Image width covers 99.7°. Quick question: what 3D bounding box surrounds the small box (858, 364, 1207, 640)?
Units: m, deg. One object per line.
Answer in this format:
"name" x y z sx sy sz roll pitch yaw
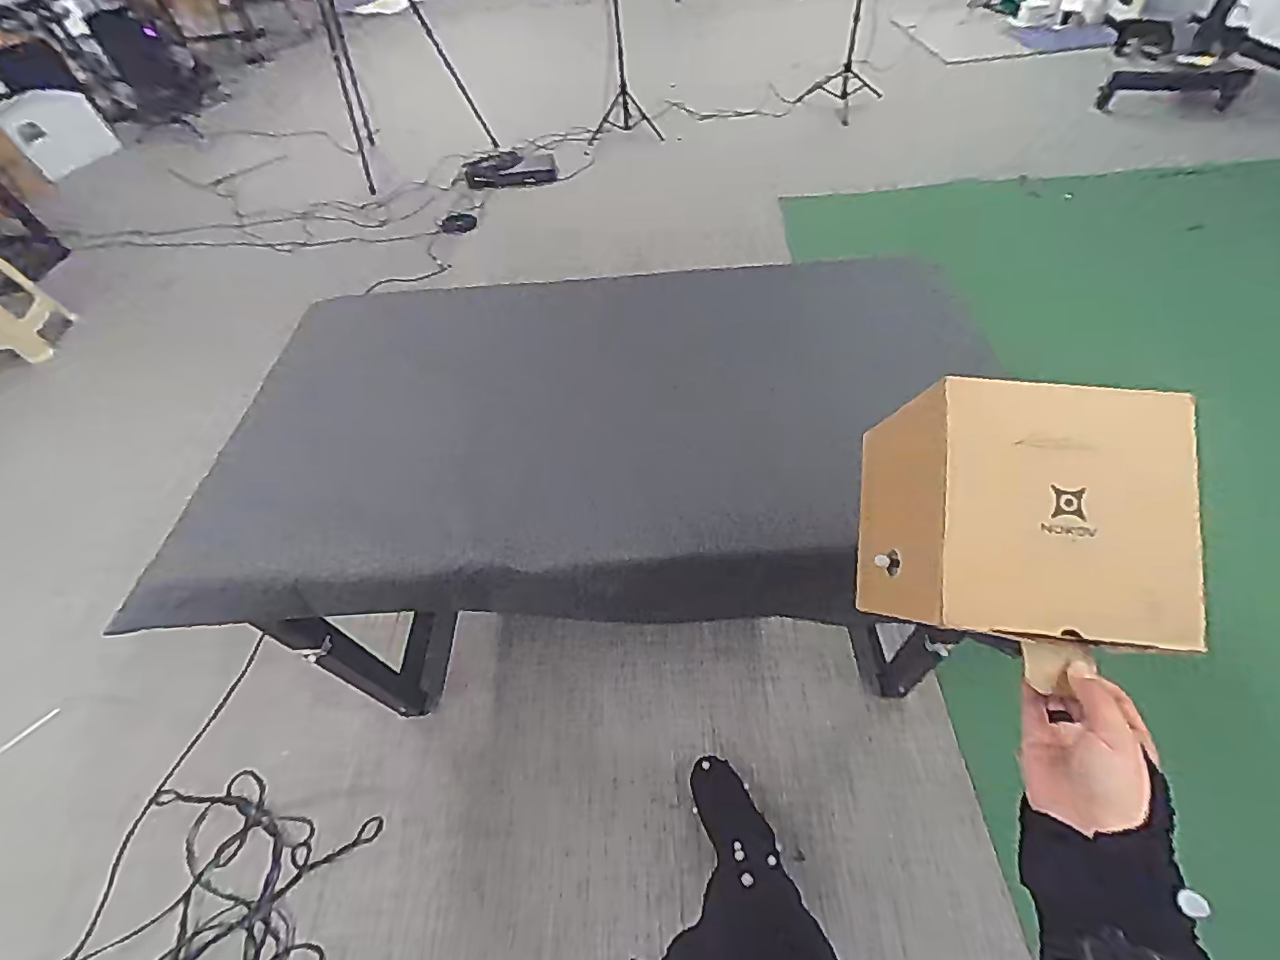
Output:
"small box" 0.288 0.023 0.439 0.168 0.176 0.179 4 80 4
